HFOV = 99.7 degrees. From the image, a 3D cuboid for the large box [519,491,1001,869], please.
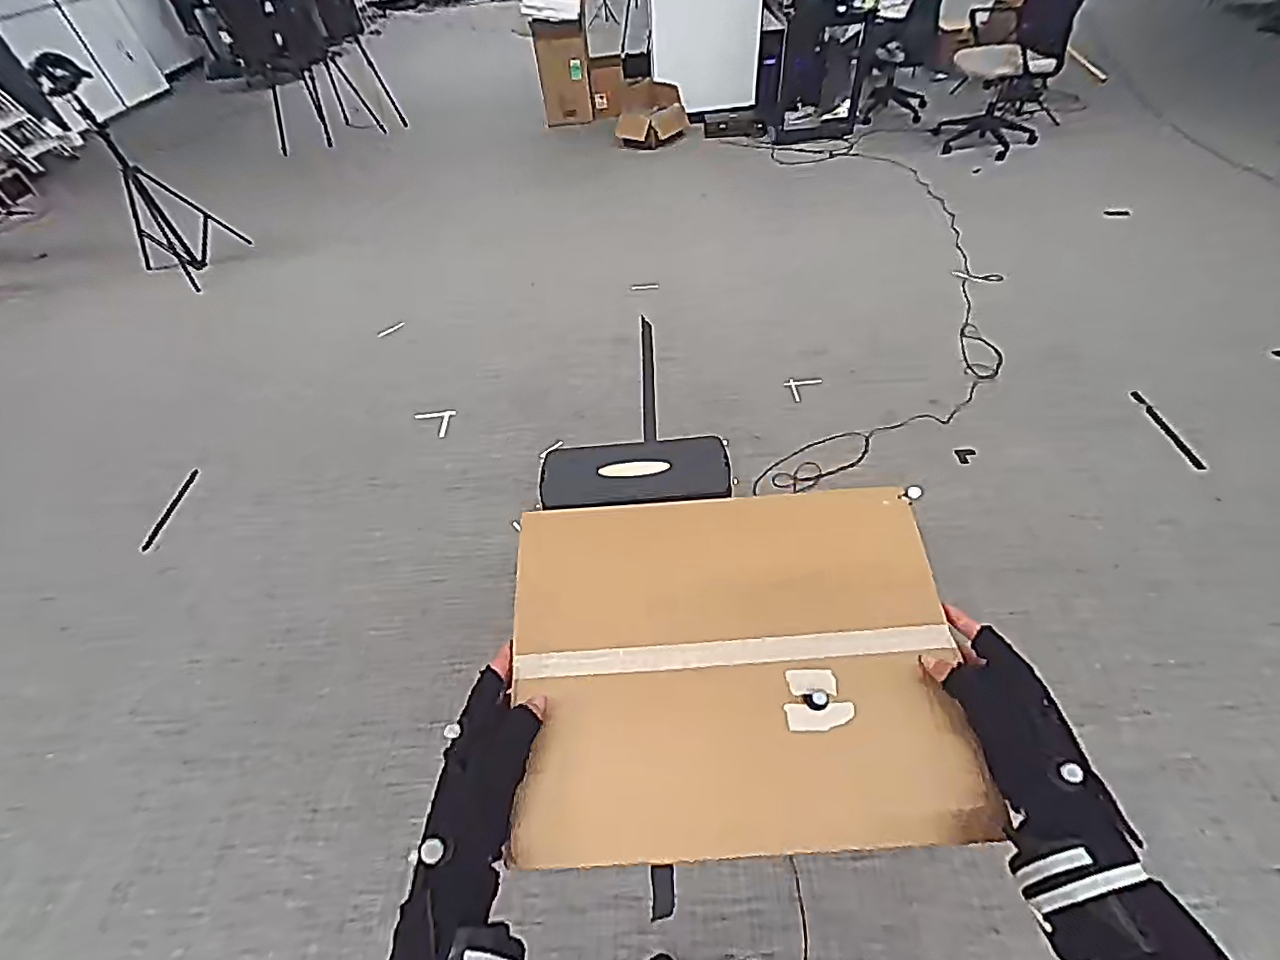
[{"bbox_3d":[0.090,0.232,0.637,0.408,0.320,0.320,-4,62,0],"label":"large box"}]
